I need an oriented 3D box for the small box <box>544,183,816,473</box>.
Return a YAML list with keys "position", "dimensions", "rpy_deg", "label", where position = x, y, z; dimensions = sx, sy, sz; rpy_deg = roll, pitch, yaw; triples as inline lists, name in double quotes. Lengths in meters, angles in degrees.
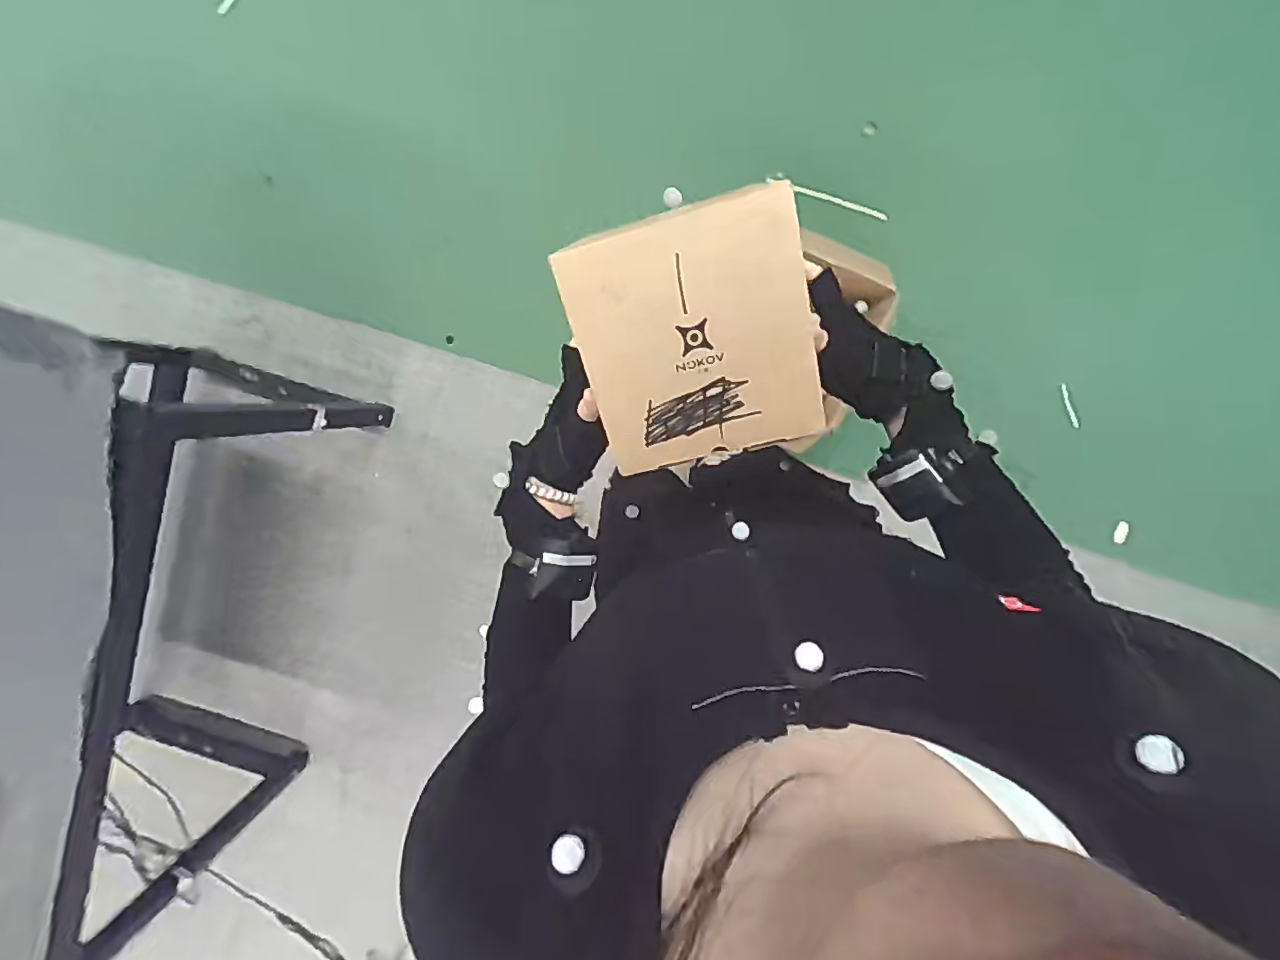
- position: [0.040, -0.132, 0.457]
  dimensions: [0.168, 0.176, 0.179]
  rpy_deg: [-13, 115, 10]
  label: "small box"
